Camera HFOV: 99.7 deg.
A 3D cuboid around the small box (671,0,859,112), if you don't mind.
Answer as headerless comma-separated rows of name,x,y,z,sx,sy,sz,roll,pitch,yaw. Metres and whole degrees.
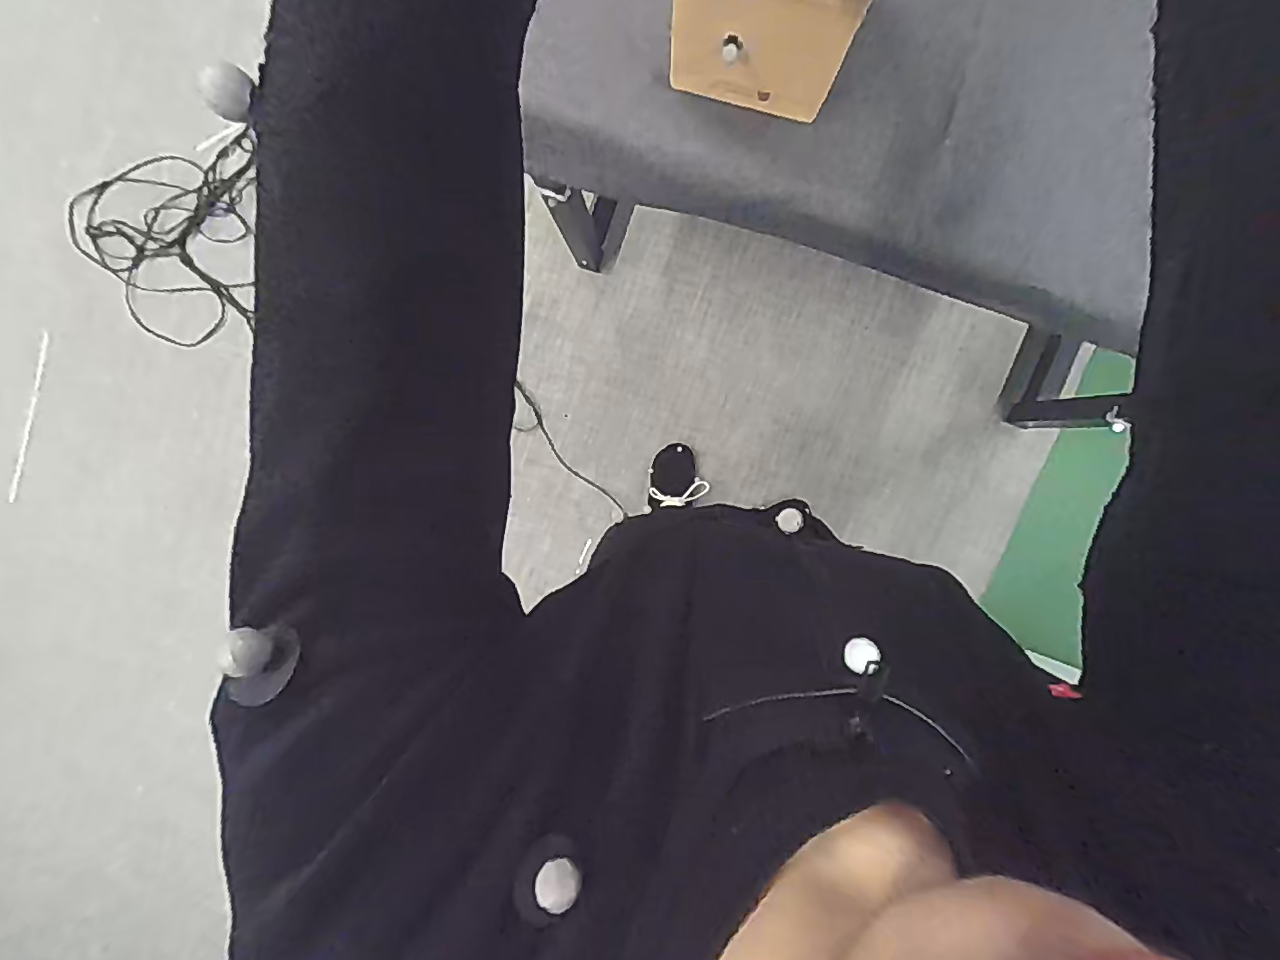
small box,0.129,-0.499,0.516,0.168,0.176,0.179,15,95,0
